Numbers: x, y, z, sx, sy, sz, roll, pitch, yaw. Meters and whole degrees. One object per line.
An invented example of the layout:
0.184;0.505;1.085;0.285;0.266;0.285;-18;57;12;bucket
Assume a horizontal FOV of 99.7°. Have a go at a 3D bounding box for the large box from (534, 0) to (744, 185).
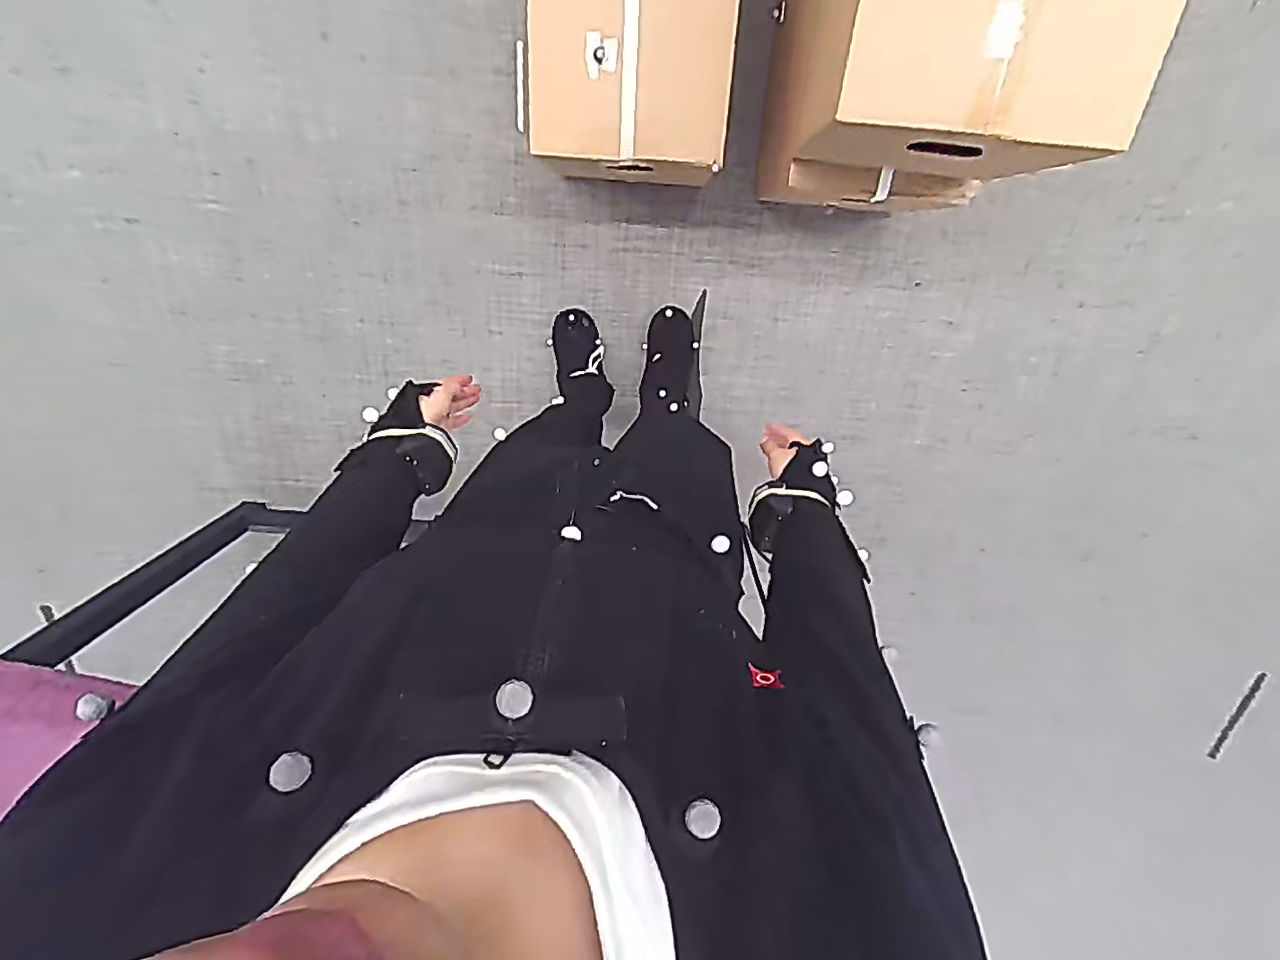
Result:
-0.002;-0.752;0.925;0.320;0.320;0.408;3;114;0;large box
